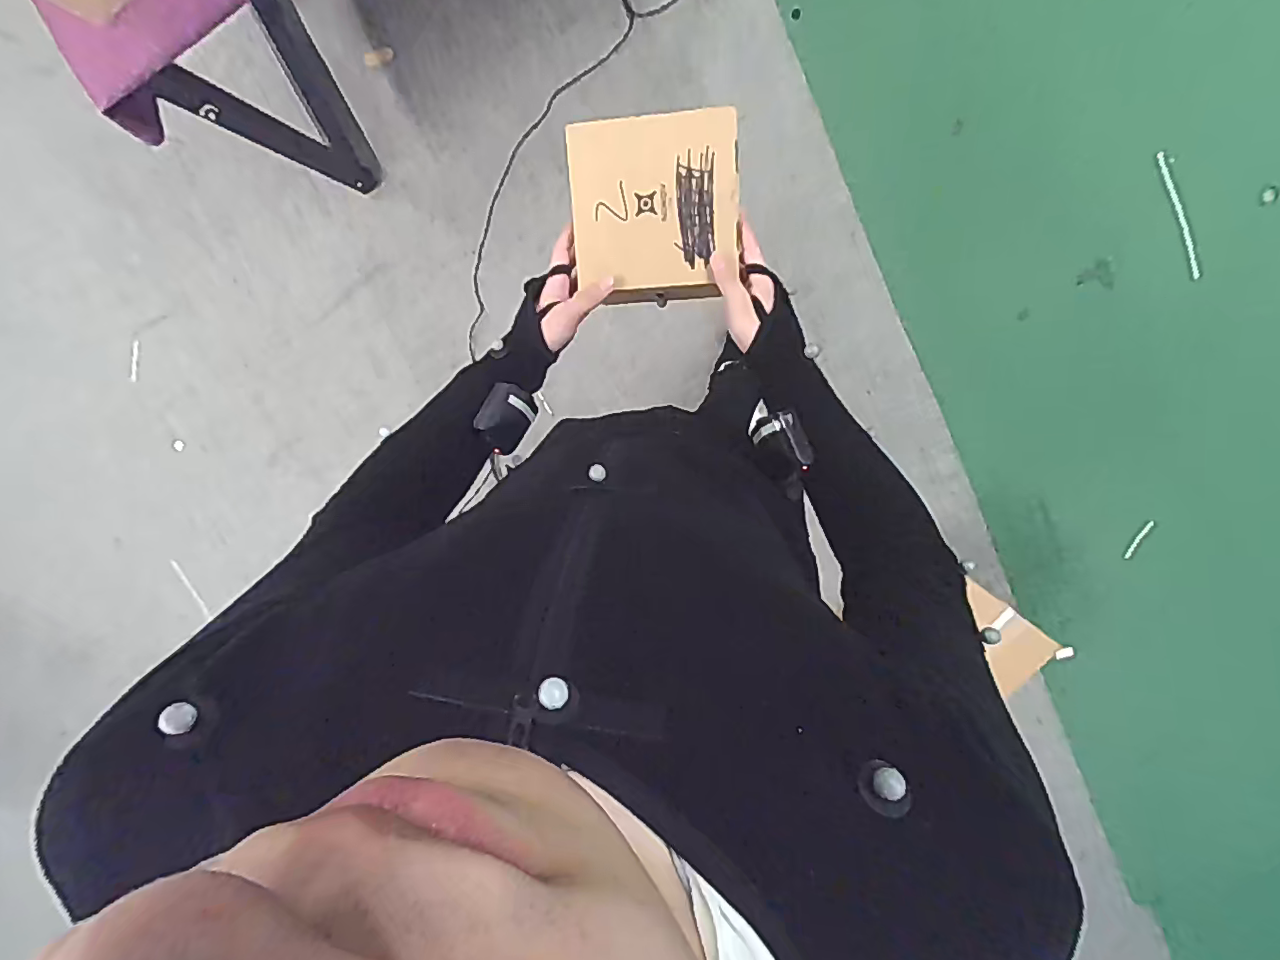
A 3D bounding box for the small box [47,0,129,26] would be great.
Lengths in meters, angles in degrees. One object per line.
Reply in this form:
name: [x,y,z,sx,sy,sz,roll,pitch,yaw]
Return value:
small box: [-0.827,-0.790,0.734,0.168,0.176,0.179,-27,96,13]
